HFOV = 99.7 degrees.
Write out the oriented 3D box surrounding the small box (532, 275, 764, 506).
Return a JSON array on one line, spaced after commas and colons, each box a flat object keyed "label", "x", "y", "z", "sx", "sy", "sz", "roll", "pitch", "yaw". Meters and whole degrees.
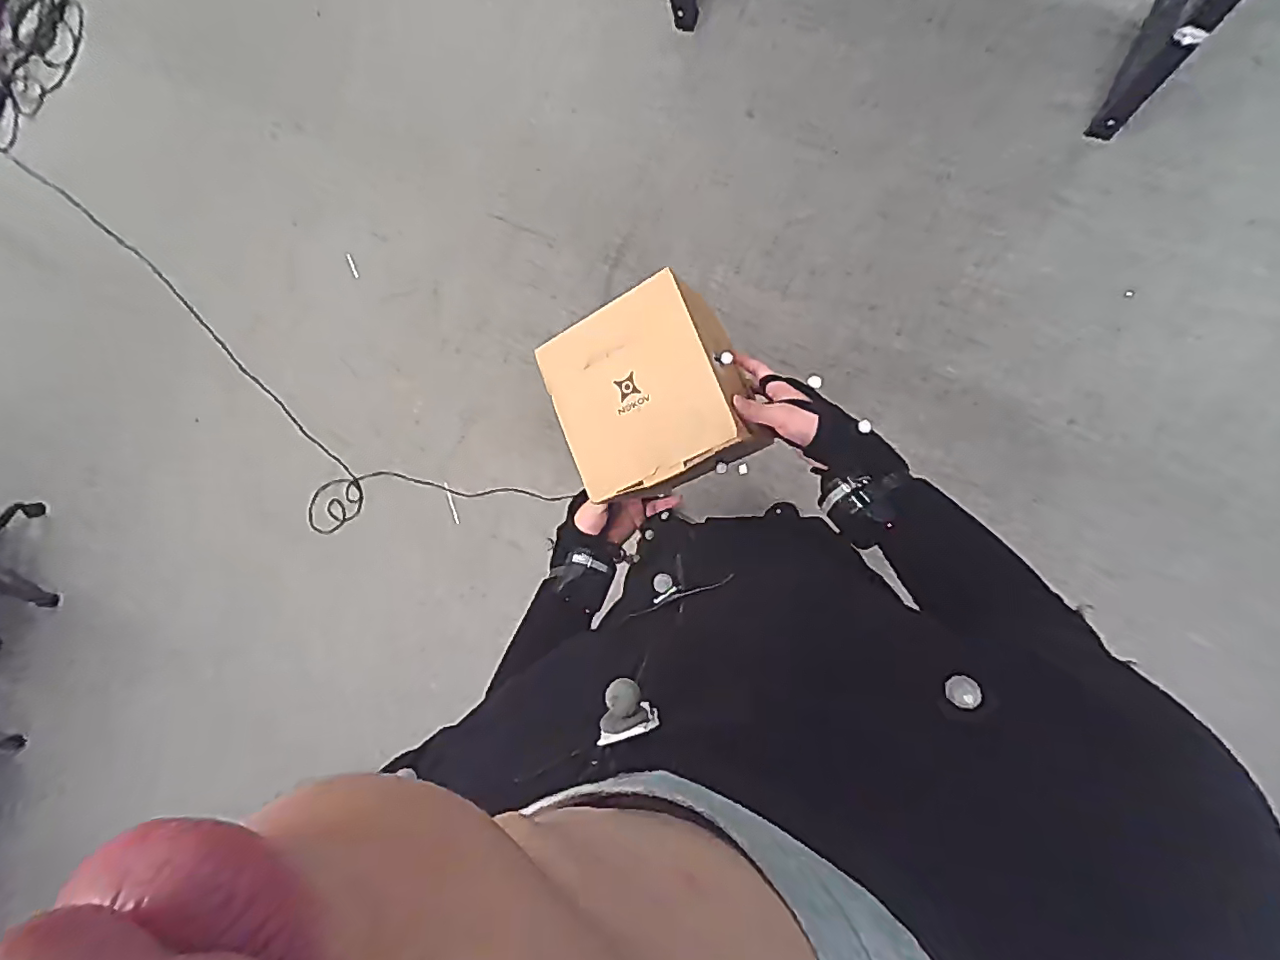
[{"label": "small box", "x": 0.018, "y": -0.085, "z": 0.591, "sx": 0.168, "sy": 0.176, "sz": 0.179, "roll": -24, "pitch": 81, "yaw": 23}]
